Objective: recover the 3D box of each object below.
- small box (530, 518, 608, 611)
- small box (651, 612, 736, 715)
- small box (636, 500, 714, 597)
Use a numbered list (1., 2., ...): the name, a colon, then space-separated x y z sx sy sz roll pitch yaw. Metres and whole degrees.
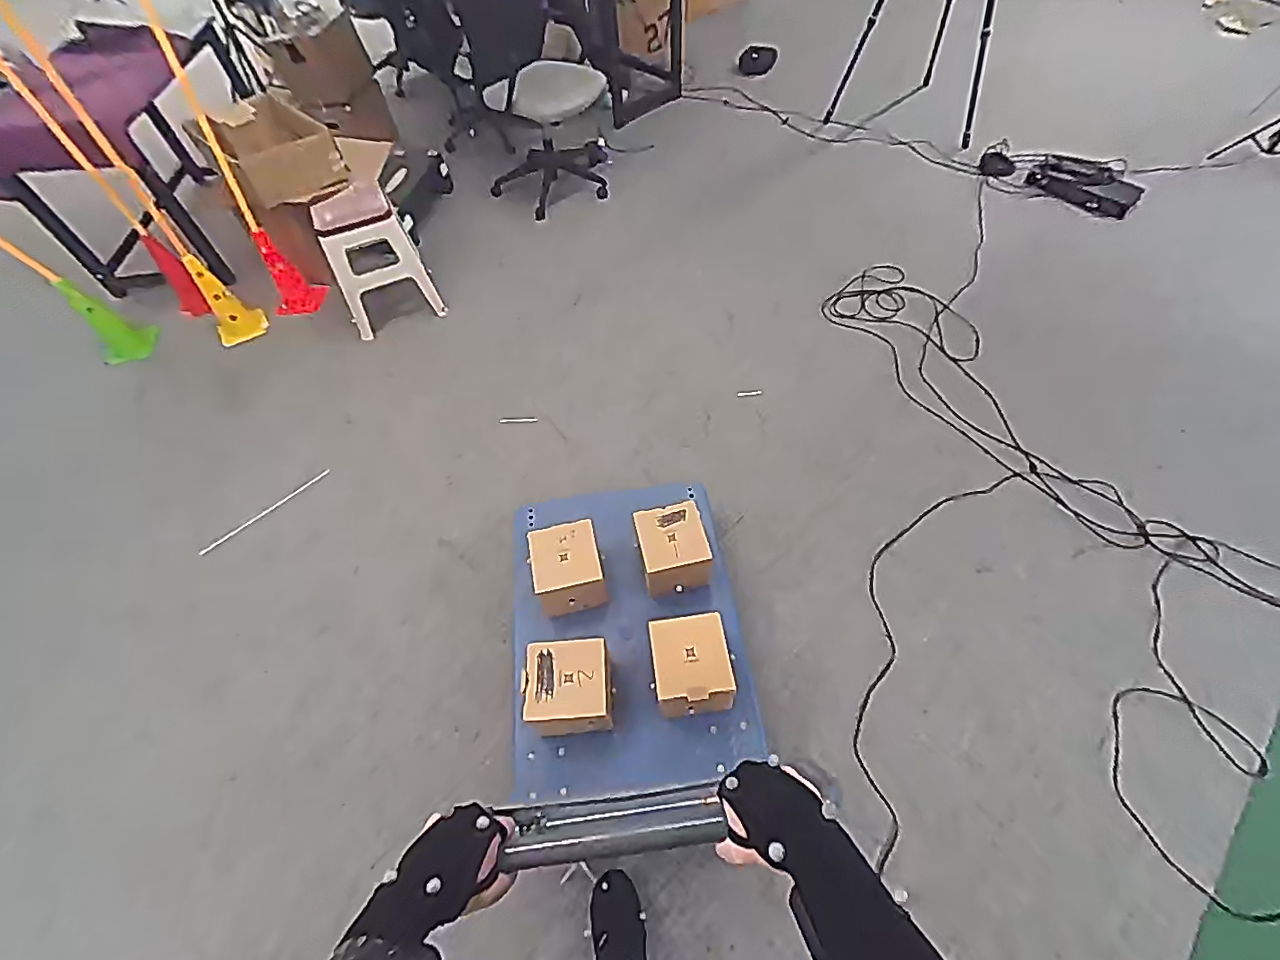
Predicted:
1. small box: -0.181 0.225 1.396 0.168 0.176 0.179 -11 56 -5
2. small box: 0.116 0.424 1.243 0.168 0.176 0.179 -7 56 -1
3. small box: 0.086 0.180 1.411 0.168 0.176 0.179 -12 56 -4
